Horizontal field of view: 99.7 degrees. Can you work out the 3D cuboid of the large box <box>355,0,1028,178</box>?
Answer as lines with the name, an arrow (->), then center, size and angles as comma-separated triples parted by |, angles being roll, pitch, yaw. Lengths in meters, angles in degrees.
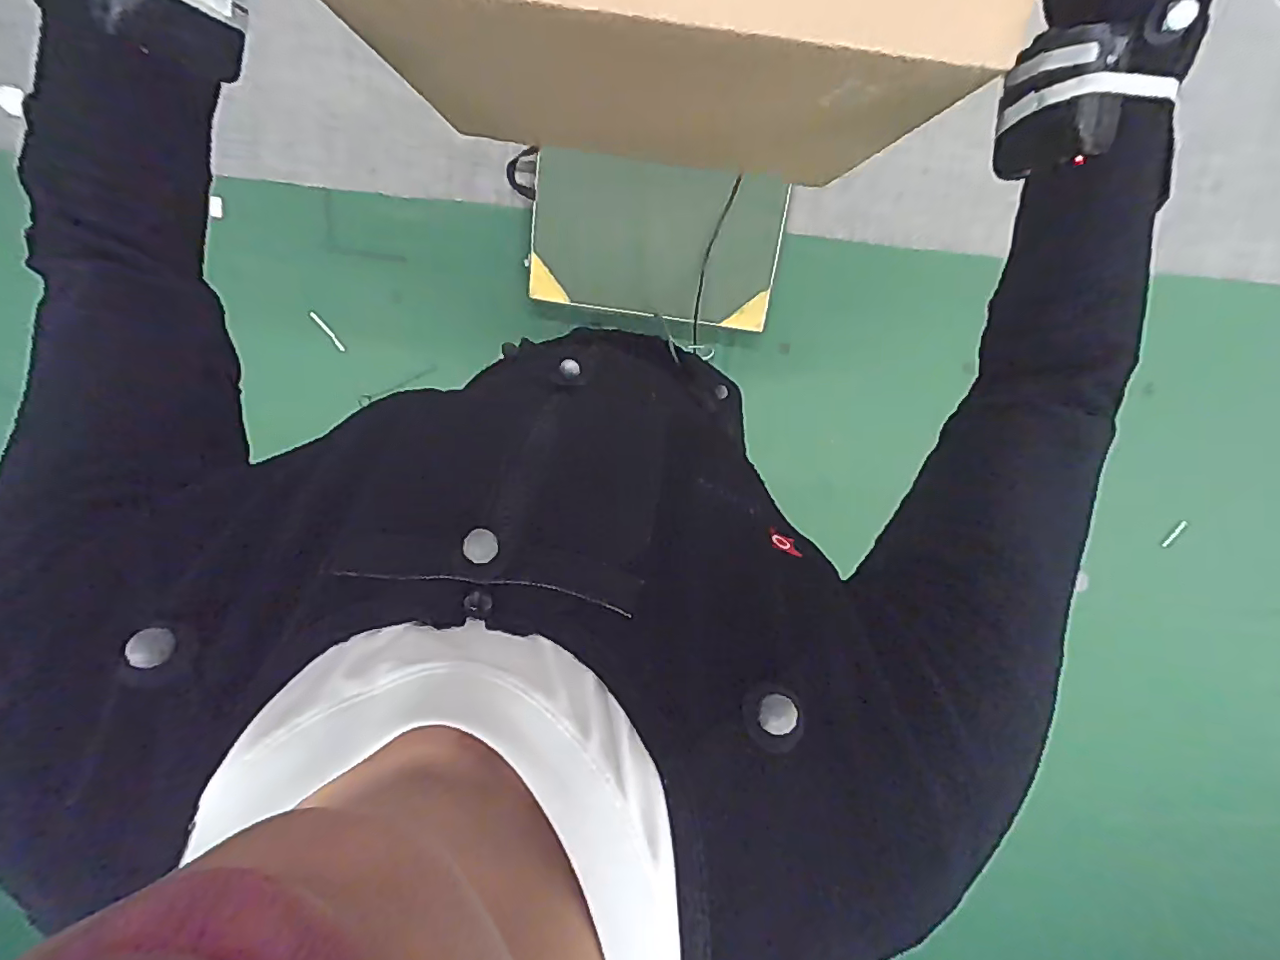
large box -> 0.029, -0.449, 0.399 | 0.408, 0.320, 0.320 | 6, 108, -4
